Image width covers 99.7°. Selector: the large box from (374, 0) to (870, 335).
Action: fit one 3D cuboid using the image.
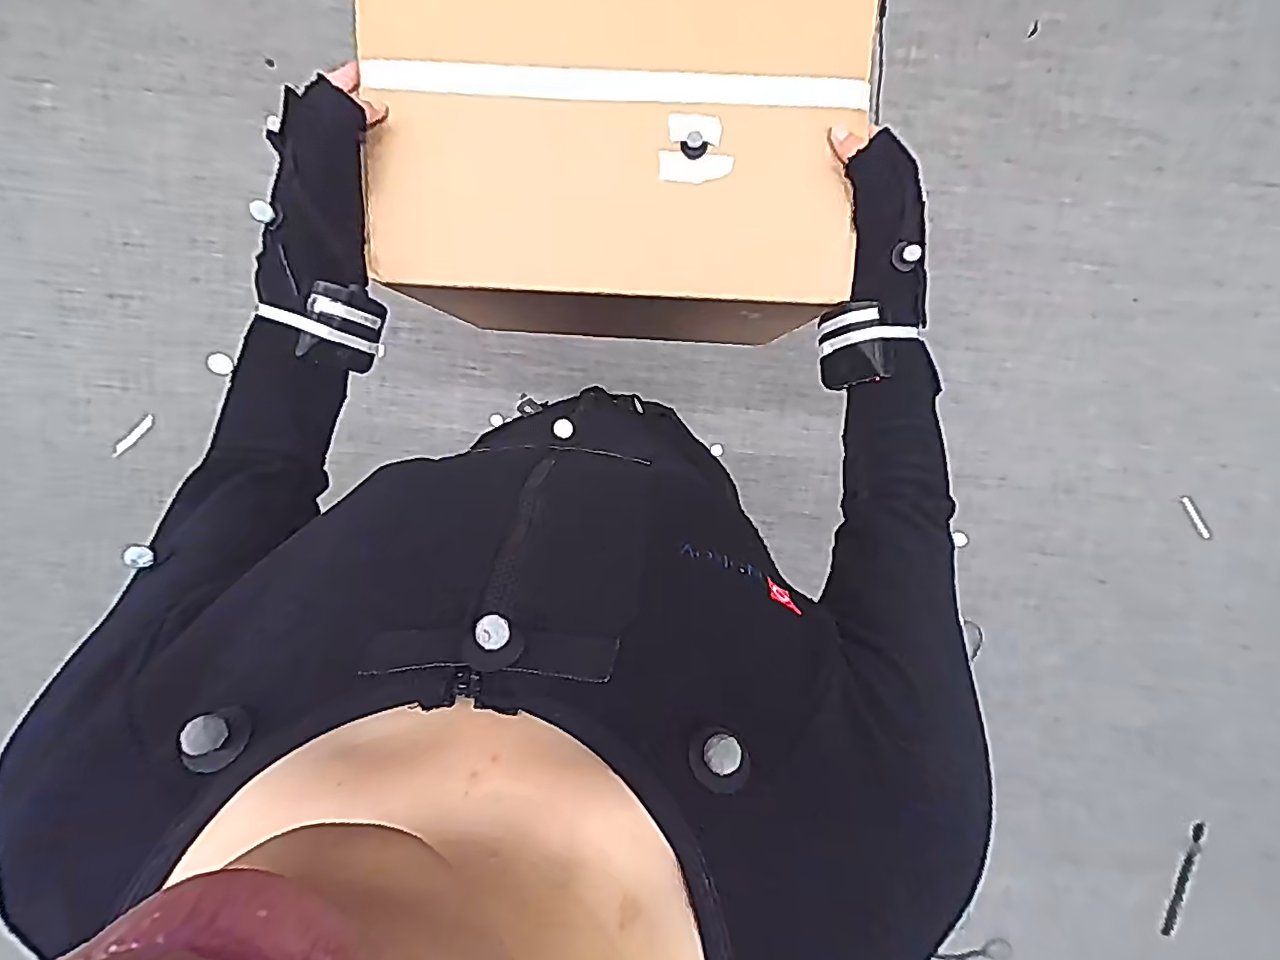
[{"bbox_3d":[-0.018,-0.340,0.586,0.408,0.320,0.320,3,98,0],"label":"large box"}]
